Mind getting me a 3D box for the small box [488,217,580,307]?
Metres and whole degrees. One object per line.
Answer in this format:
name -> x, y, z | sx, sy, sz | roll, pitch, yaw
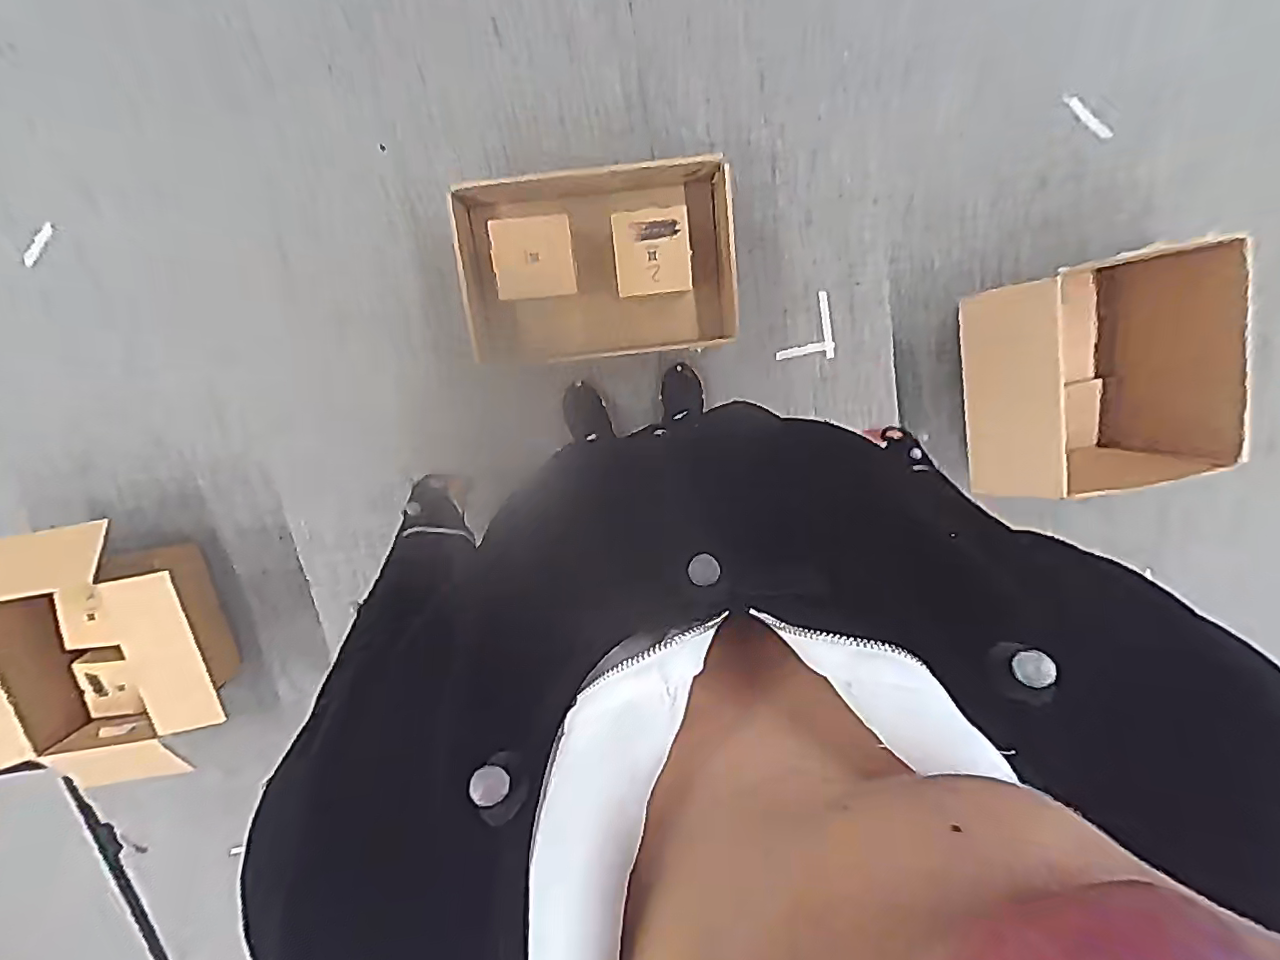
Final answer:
small box -> -0.240, -0.501, 1.263 | 0.179, 0.176, 0.168 | -6, 105, -2
